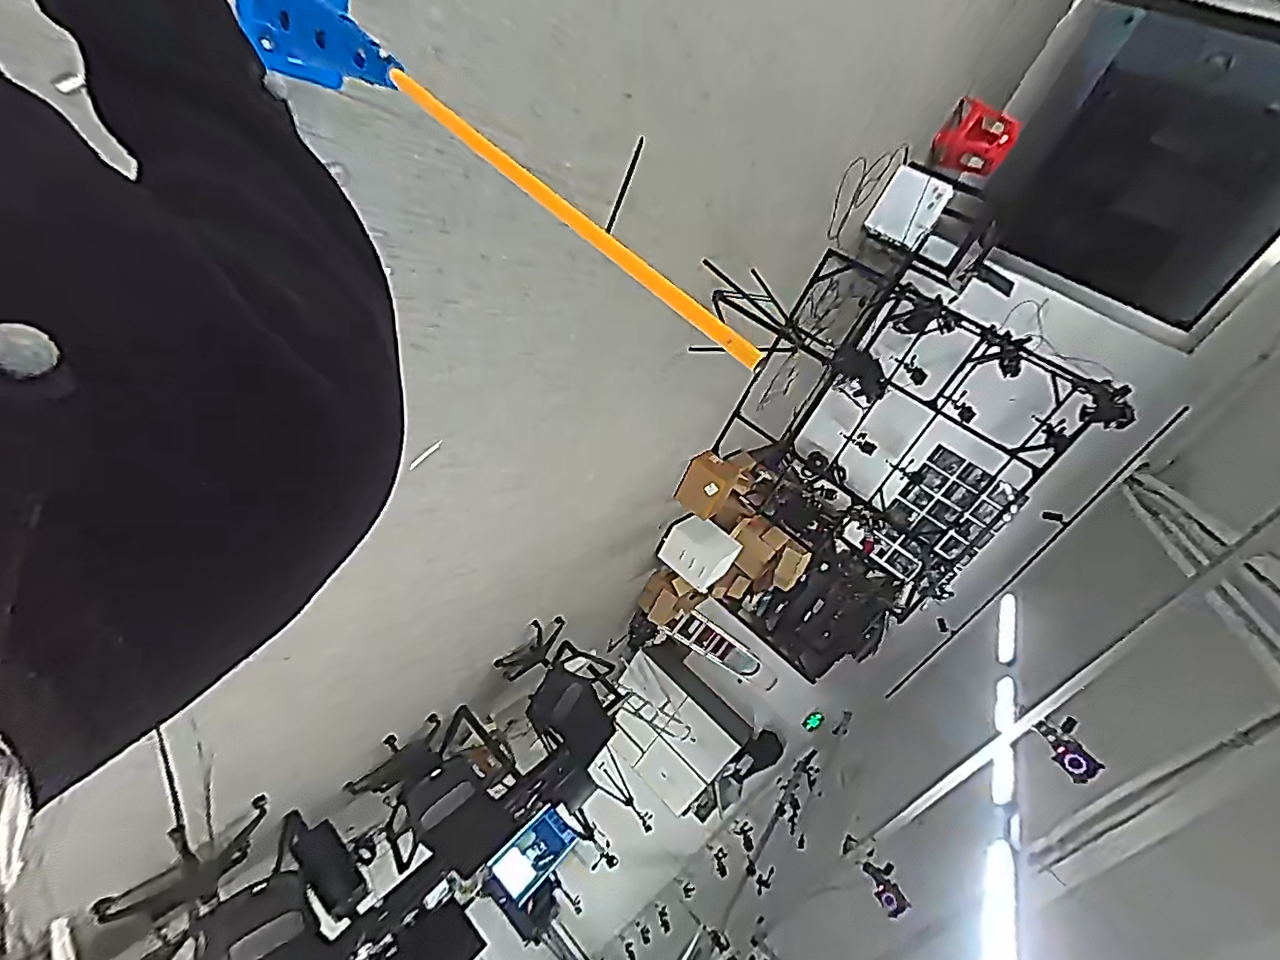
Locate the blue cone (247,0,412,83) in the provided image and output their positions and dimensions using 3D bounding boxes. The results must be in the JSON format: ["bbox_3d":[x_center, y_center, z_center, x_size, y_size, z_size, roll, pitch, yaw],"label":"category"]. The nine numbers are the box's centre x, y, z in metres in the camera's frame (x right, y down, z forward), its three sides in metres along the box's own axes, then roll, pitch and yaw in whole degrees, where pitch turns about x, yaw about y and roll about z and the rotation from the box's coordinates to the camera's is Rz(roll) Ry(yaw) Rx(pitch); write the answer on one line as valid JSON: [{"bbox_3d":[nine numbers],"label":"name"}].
[{"bbox_3d":[-0.548,-0.814,1.003,0.193,0.380,0.192,-23,144,-52],"label":"blue cone"}]
